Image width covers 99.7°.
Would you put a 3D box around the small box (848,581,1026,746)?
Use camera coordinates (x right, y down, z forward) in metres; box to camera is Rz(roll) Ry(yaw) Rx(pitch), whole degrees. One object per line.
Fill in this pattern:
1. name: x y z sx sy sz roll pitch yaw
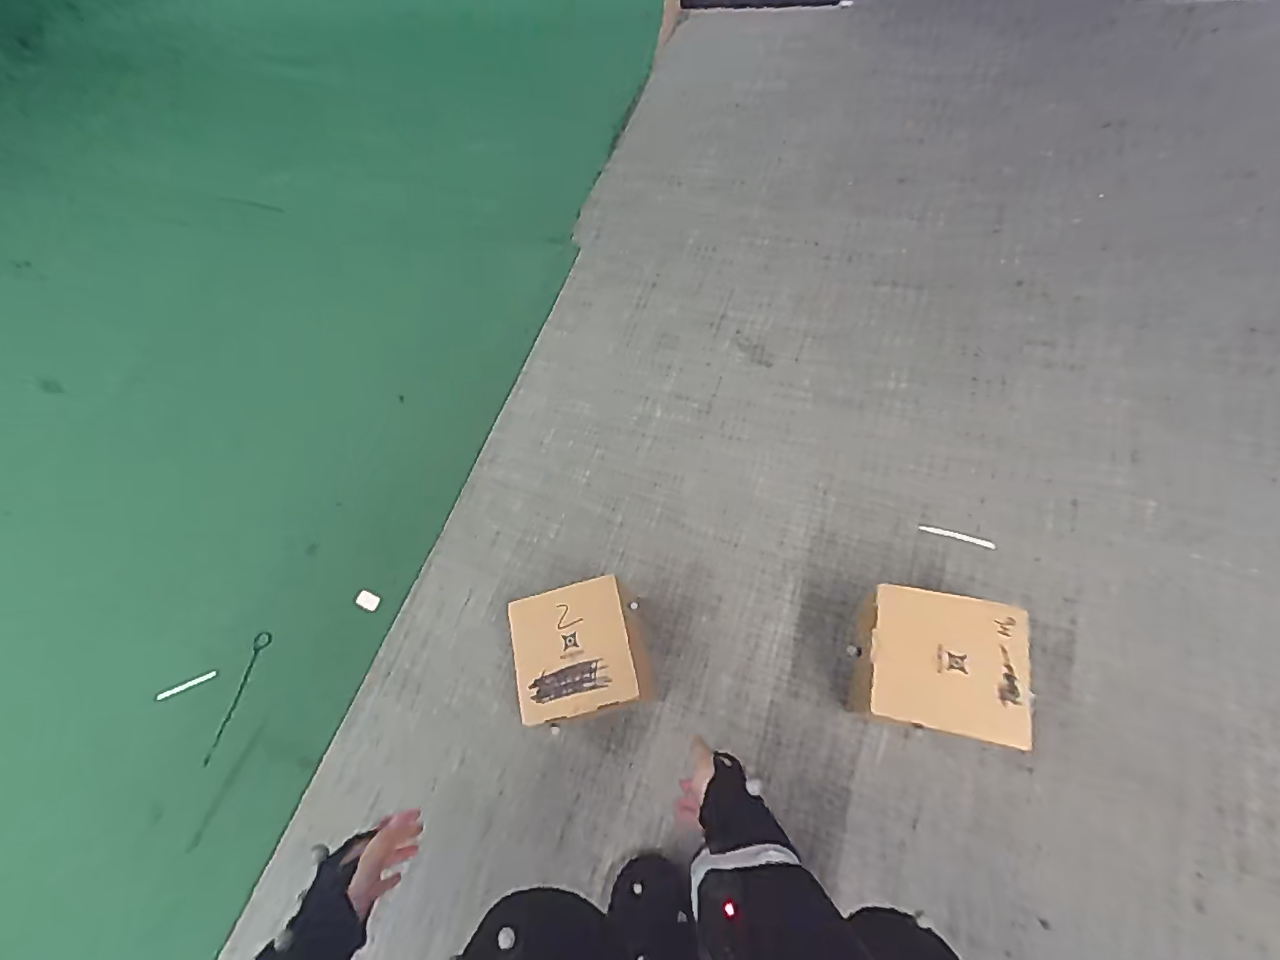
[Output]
1. small box: 0.389 0.250 0.734 0.179 0.176 0.168 8 69 16
